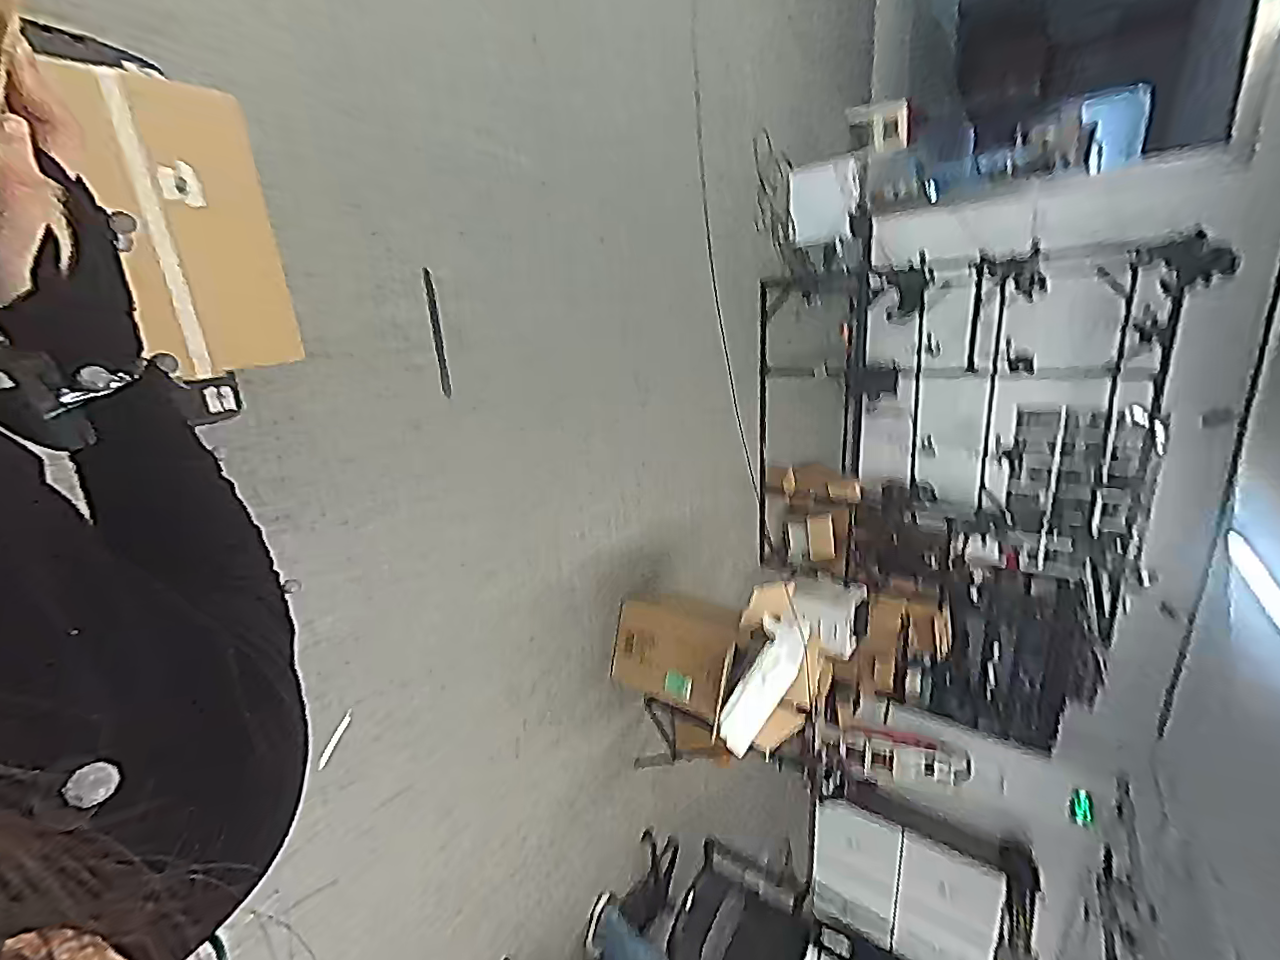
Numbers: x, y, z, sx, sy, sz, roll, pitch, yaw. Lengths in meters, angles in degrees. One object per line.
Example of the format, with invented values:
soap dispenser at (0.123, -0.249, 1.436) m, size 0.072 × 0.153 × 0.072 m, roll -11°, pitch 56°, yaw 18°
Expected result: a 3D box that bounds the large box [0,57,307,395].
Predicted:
large box at (-0.807, -0.362, 0.858) m, size 0.320 × 0.320 × 0.408 m, roll -27°, pitch 117°, yaw -50°
